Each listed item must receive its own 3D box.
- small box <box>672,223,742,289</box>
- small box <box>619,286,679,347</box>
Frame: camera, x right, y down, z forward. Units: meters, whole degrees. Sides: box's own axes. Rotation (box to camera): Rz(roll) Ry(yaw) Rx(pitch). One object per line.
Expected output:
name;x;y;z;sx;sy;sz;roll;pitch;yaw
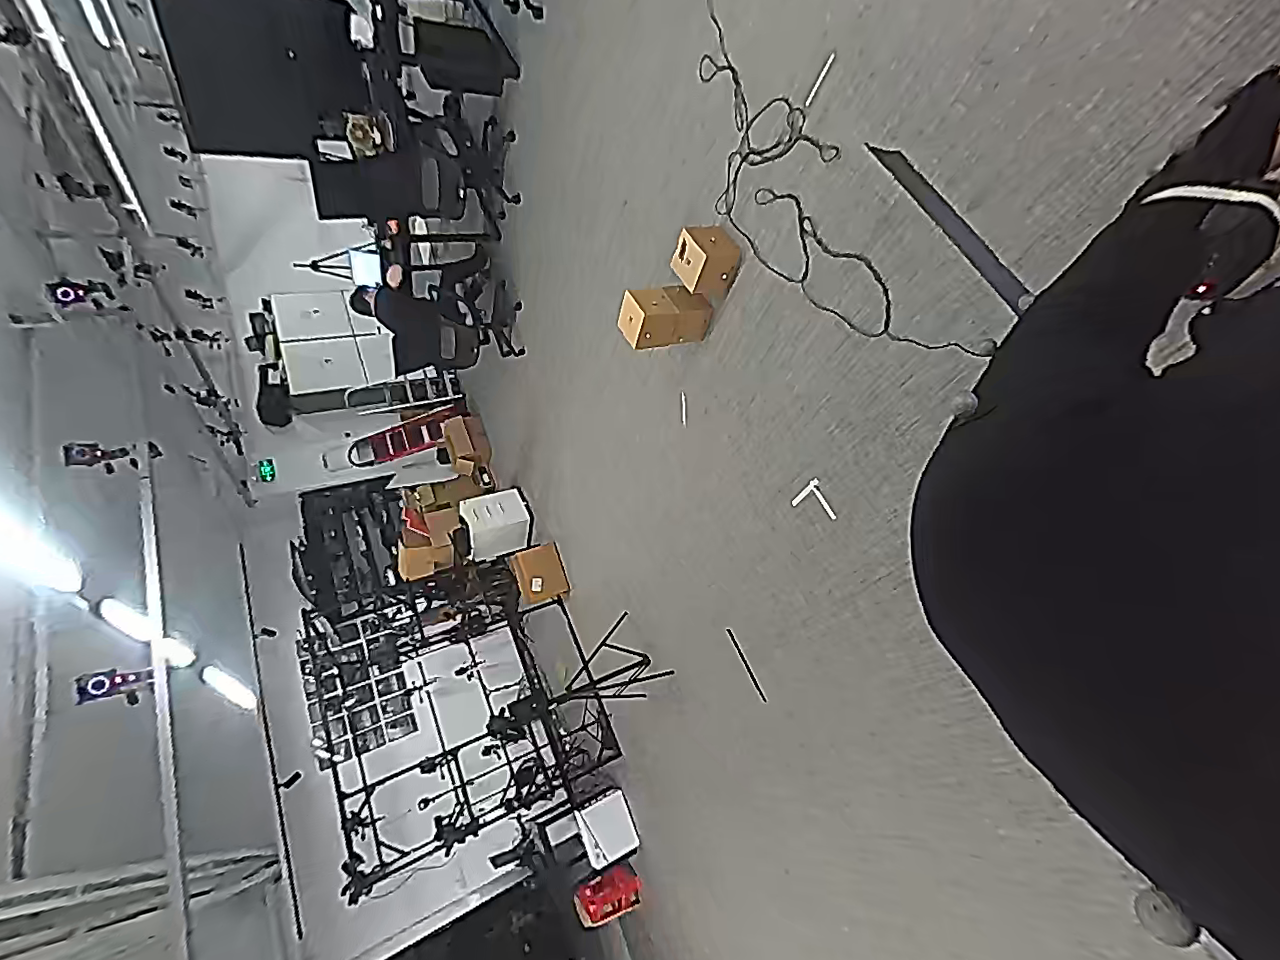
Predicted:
small box;0.253;-0.844;2.034;0.179;0.176;0.168;61;151;25
small box;0.039;-0.664;2.179;0.168;0.176;0.179;60;150;28
